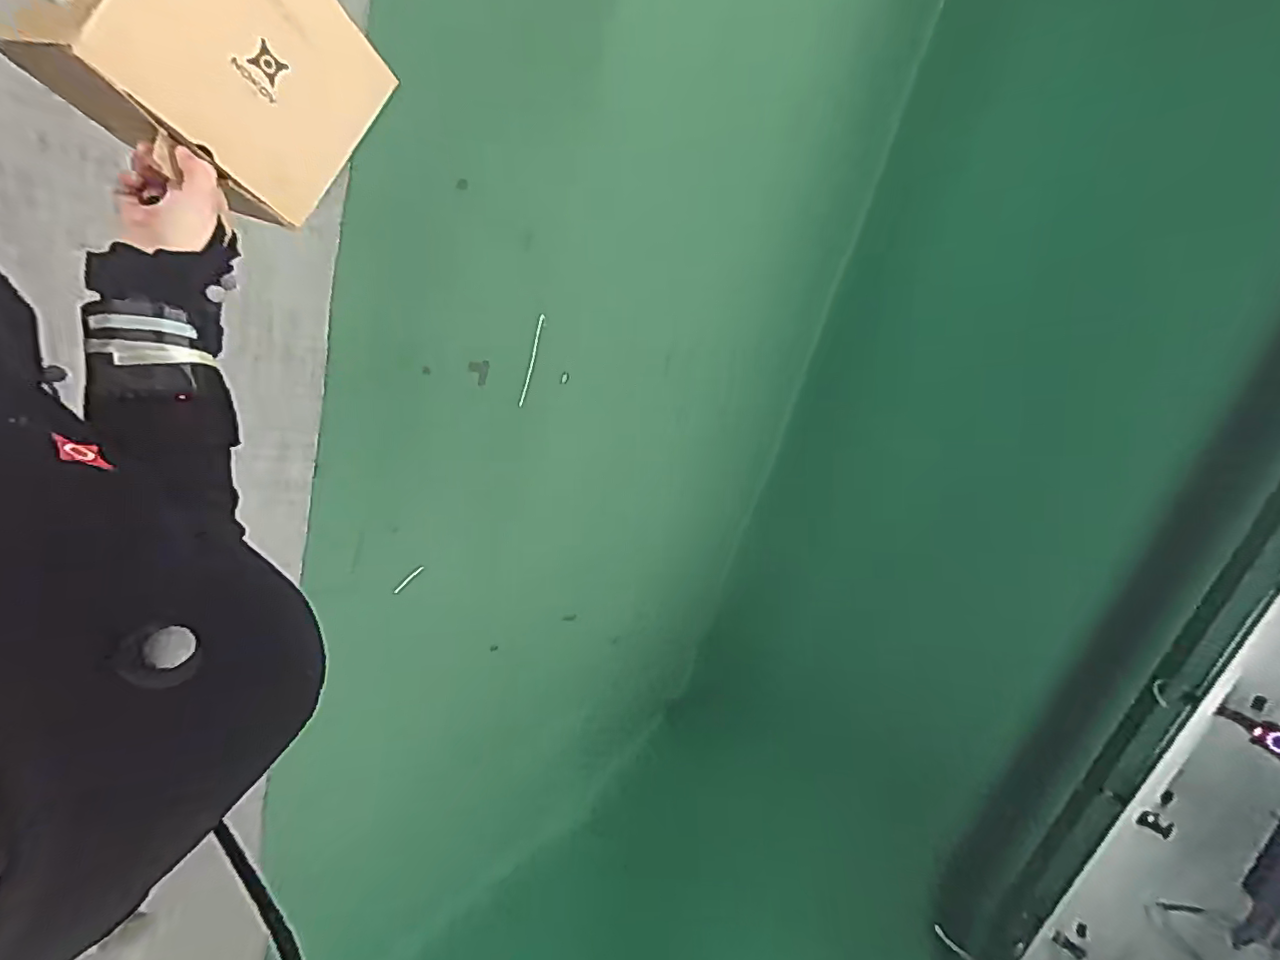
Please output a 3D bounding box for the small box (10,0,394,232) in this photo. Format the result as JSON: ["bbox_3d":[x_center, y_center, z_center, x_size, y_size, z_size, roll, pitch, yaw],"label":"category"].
[{"bbox_3d":[-0.360,-0.348,0.456,0.179,0.176,0.168,-63,156,-8],"label":"small box"}]
